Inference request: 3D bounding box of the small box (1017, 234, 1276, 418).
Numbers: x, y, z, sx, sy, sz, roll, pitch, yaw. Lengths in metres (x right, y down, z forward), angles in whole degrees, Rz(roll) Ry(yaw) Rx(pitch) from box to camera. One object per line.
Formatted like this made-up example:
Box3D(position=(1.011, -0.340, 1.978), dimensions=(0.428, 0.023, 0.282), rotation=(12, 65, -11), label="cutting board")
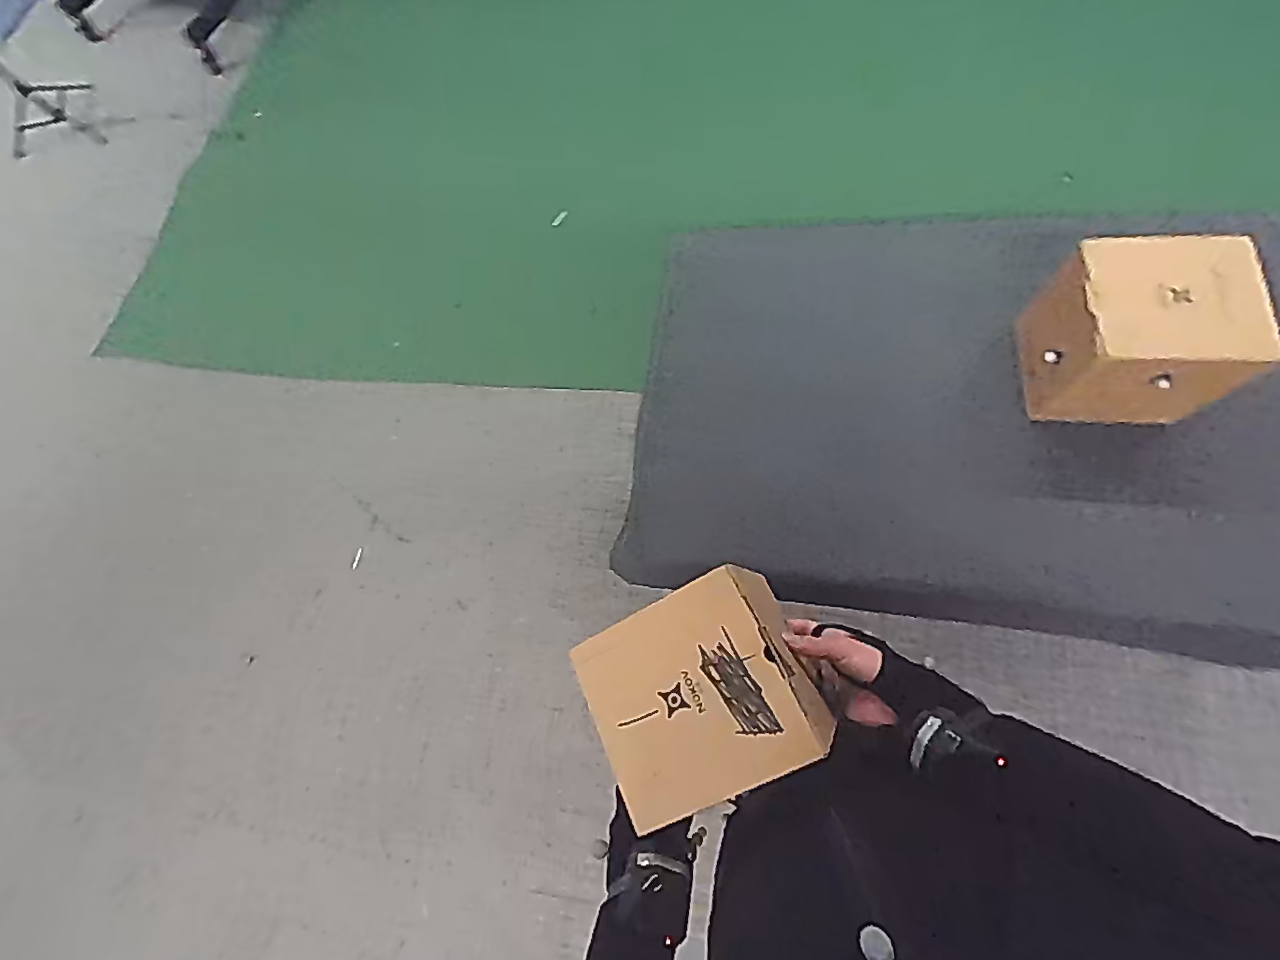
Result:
Box3D(position=(0.617, -0.187, 0.693), dimensions=(0.179, 0.176, 0.168), rotation=(3, 73, 9), label="small box")
